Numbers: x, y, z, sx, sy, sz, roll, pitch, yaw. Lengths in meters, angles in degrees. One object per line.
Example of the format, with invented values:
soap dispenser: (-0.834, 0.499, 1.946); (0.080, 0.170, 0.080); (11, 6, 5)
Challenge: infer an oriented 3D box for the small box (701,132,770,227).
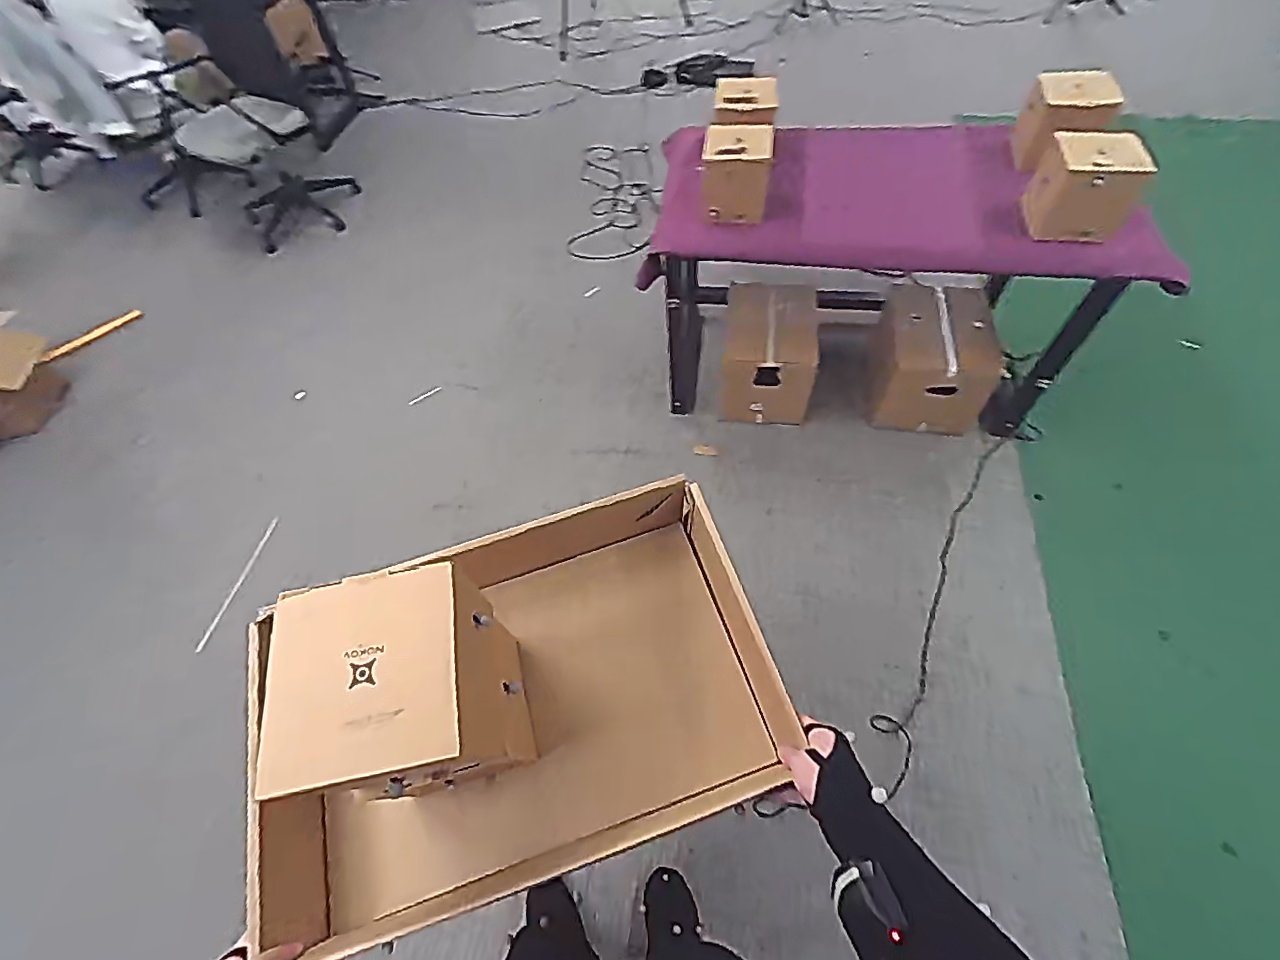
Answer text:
small box: (0.253, -0.796, 1.440); (0.168, 0.176, 0.179); (5, 56, 8)

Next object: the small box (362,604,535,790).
small box: (-0.238, 0.281, 0.694); (0.168, 0.176, 0.179); (-12, 63, -7)

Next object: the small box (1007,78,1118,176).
small box: (1.114, -0.939, 1.444); (0.168, 0.176, 0.179); (6, 59, 12)

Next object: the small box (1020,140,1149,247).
small box: (1.037, -0.680, 1.283); (0.168, 0.176, 0.179); (7, 55, 12)

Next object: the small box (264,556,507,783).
small box: (-0.238, 0.198, 0.553); (0.168, 0.176, 0.179); (-9, 63, -4)

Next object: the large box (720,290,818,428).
large box: (0.457, -0.439, 1.981); (0.320, 0.320, 0.408); (4, 56, 8)
